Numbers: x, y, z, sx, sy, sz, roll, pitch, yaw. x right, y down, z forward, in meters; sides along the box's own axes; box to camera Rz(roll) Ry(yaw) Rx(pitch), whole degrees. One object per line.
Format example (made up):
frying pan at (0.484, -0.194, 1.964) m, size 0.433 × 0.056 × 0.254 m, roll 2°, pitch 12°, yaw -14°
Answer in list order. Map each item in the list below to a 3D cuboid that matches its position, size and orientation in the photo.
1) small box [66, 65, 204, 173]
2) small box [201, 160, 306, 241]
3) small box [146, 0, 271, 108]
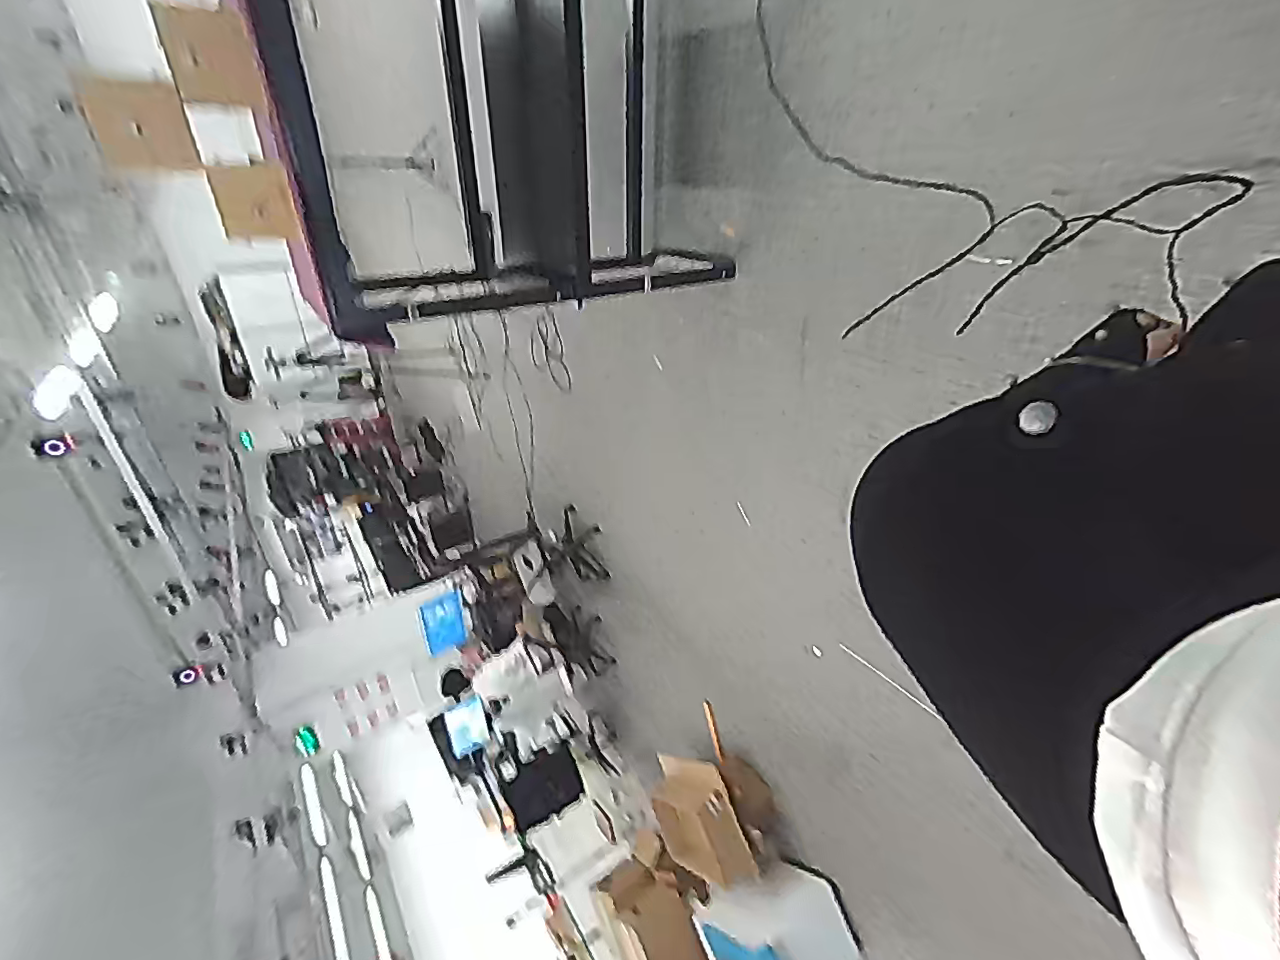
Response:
small box at (-1.072, -0.767, 1.167) m, size 0.168 × 0.176 × 0.179 m, roll 34°, pitch 134°, yaw 47°
small box at (-0.933, -0.682, 1.313) m, size 0.179 × 0.176 × 0.168 m, roll 36°, pitch 134°, yaw 47°
small box at (-0.931, -0.922, 1.180) m, size 0.168 × 0.176 × 0.179 m, roll 37°, pitch 135°, yaw 45°
